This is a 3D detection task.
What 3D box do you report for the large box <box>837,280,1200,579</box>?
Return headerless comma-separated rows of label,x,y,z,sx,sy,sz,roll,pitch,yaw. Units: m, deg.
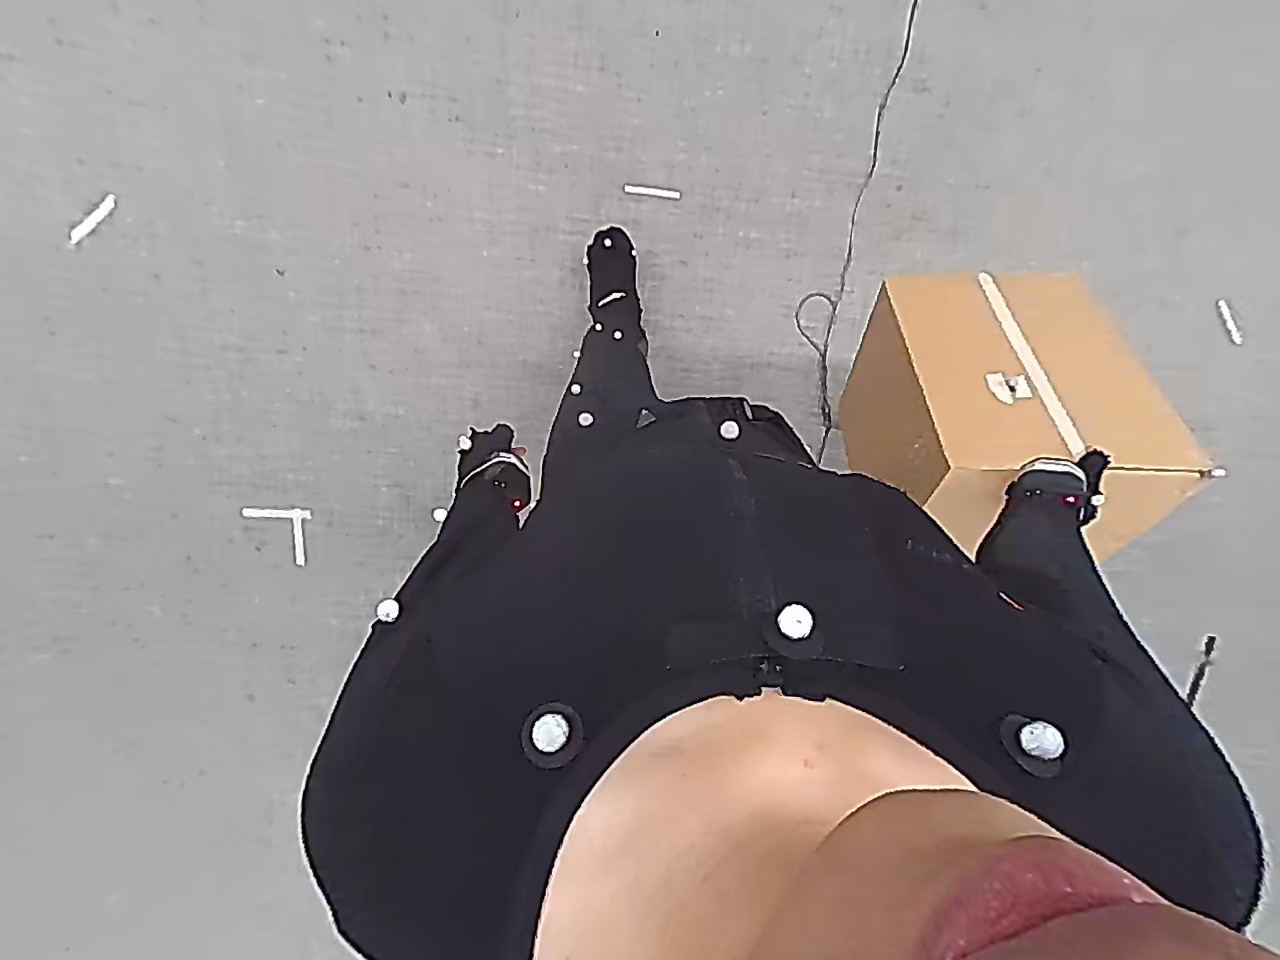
large box,0.556,-0.082,0.911,0.320,0.408,0.320,1,145,4
